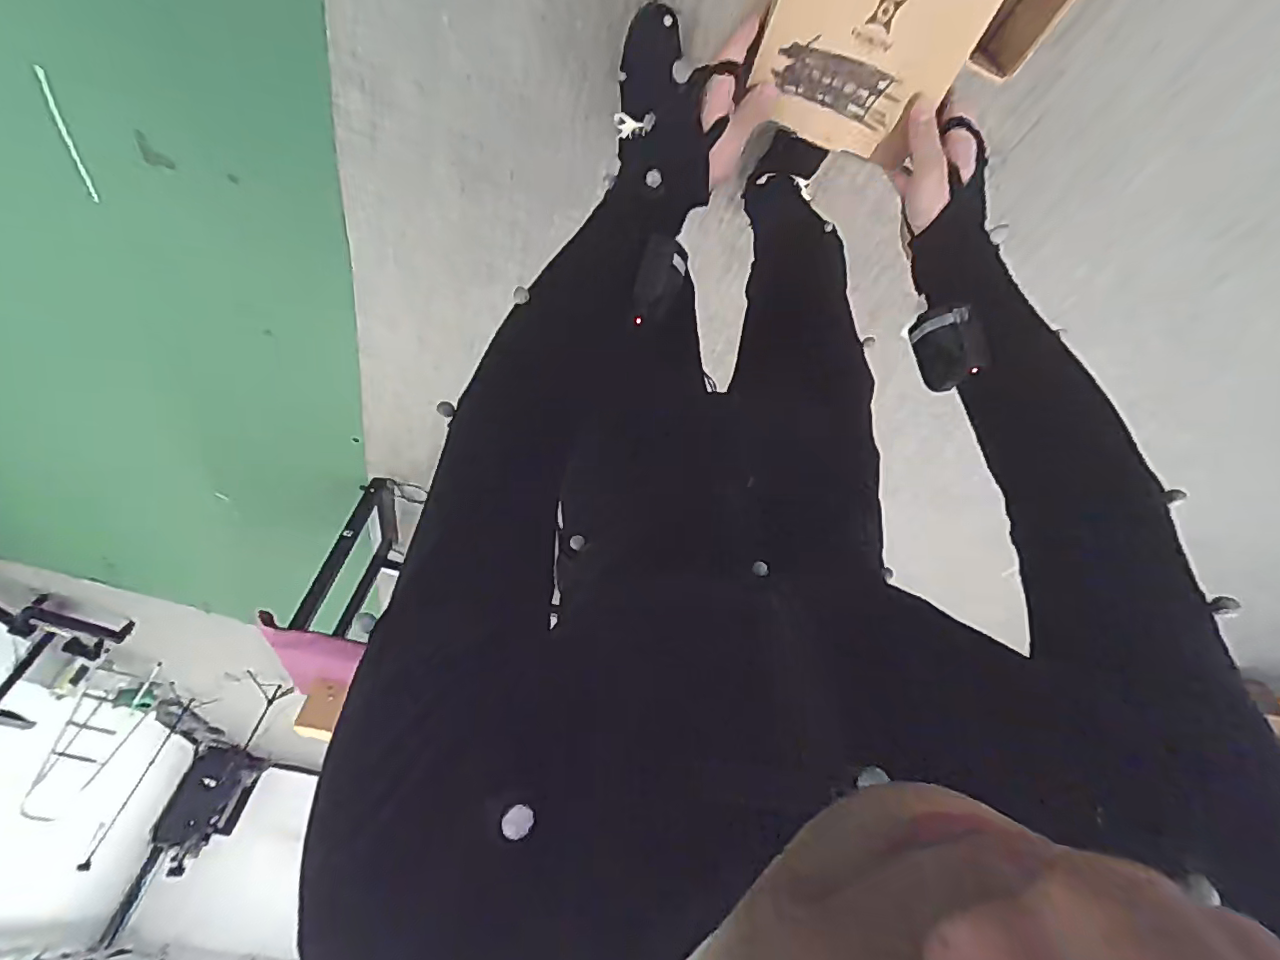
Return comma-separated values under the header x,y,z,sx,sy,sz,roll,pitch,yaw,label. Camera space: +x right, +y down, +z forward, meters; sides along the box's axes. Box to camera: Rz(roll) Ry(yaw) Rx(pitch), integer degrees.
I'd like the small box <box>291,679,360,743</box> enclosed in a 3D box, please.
x,y,z,sx,sy,sz,roll,pitch,yaw,label
-1.174,0.870,2.034,0.168,0.176,0.179,18,140,-12,small box
